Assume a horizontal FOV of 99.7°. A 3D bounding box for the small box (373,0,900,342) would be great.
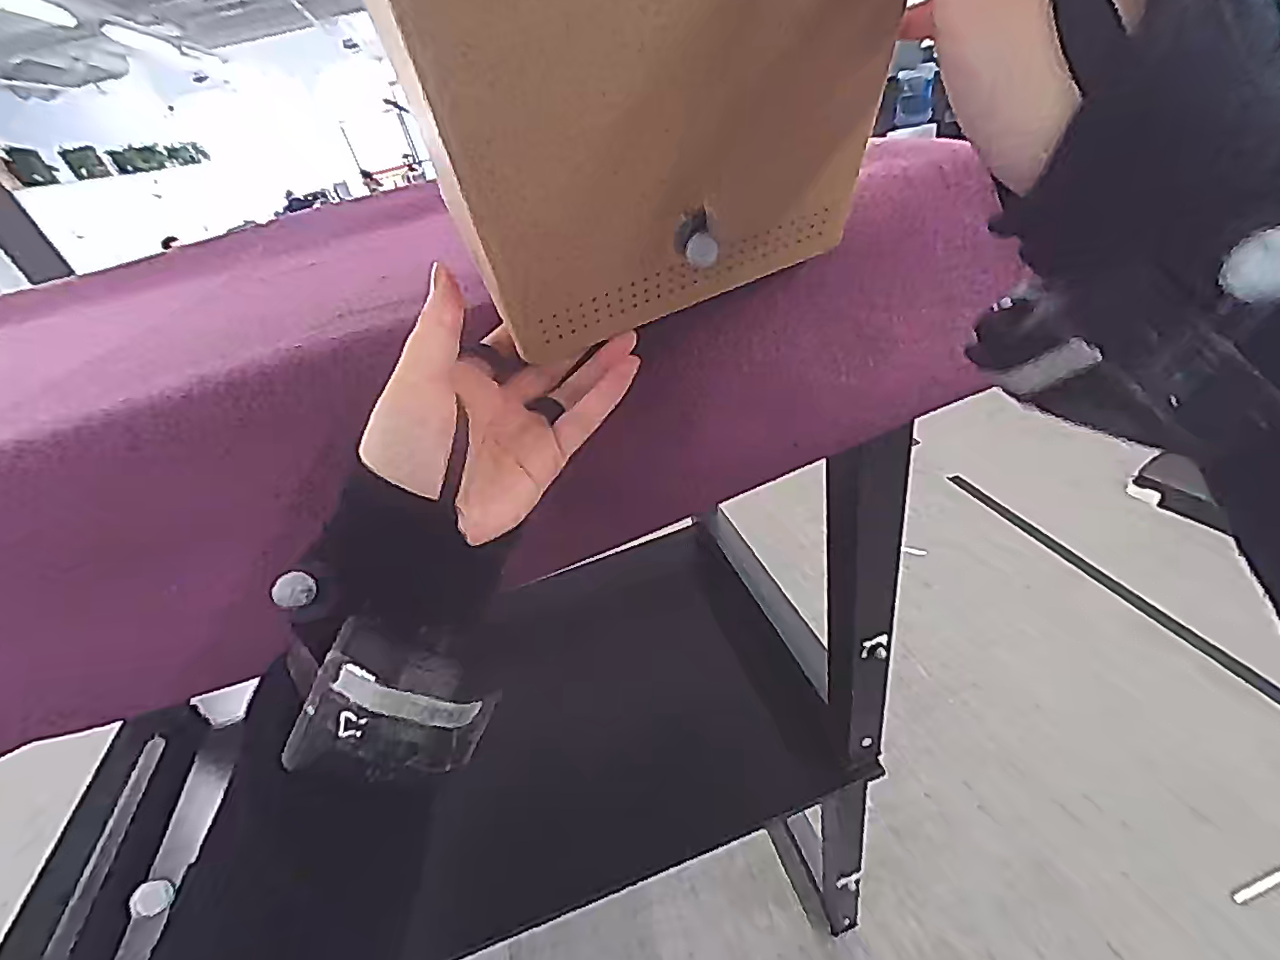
[{"bbox_3d":[-0.013,-0.193,0.230,0.179,0.176,0.168,-24,63,-9],"label":"small box"}]
